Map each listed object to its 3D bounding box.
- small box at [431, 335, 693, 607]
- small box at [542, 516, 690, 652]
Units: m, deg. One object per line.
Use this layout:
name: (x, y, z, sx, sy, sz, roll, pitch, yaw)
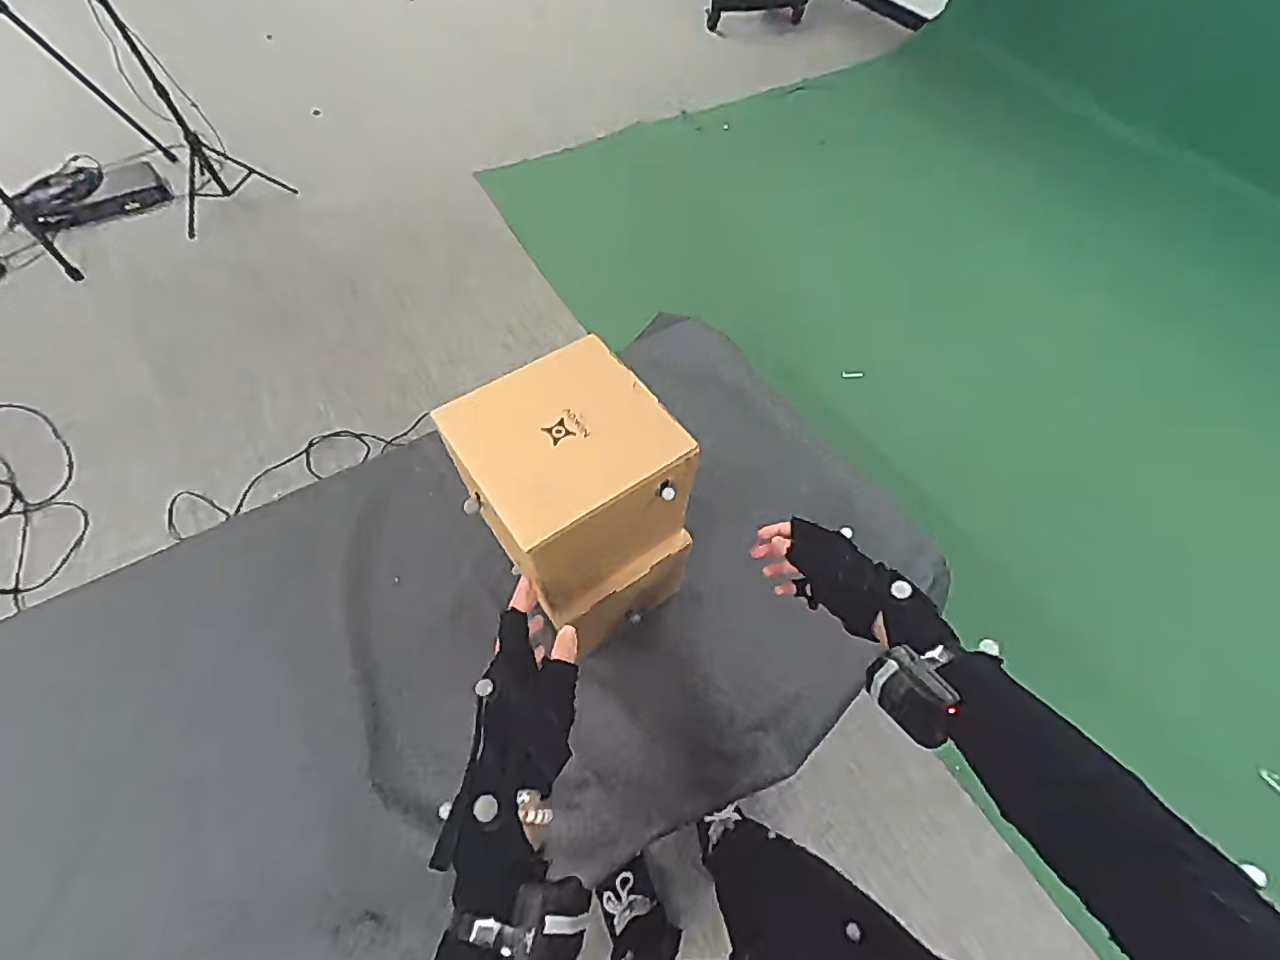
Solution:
small box: (-0.070, -0.003, 0.535, 0.179, 0.176, 0.168, -32, 65, -20)
small box: (-0.062, 0.084, 0.673, 0.168, 0.176, 0.179, -31, 65, -19)
